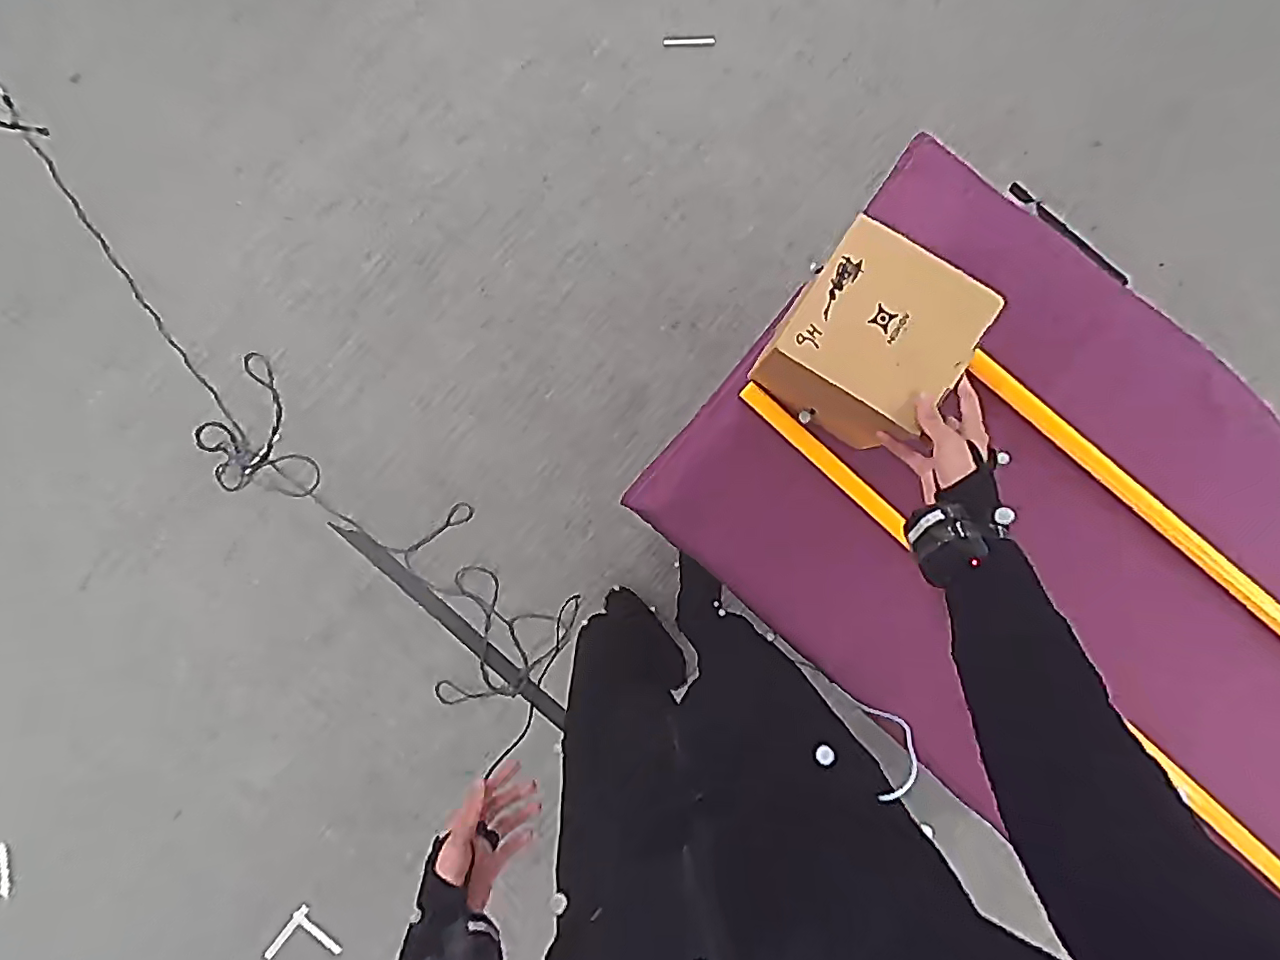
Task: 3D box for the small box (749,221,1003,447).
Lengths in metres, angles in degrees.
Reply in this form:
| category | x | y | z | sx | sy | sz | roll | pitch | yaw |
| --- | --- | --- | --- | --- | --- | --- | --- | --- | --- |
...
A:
| category | x | y | z | sx | sy | sz | roll | pitch | yaw |
| --- | --- | --- | --- | --- | --- | --- | --- | --- | --- |
| small box | 0.251 | -0.149 | 0.623 | 0.179 | 0.176 | 0.168 | 33 | 90 | 1 |
